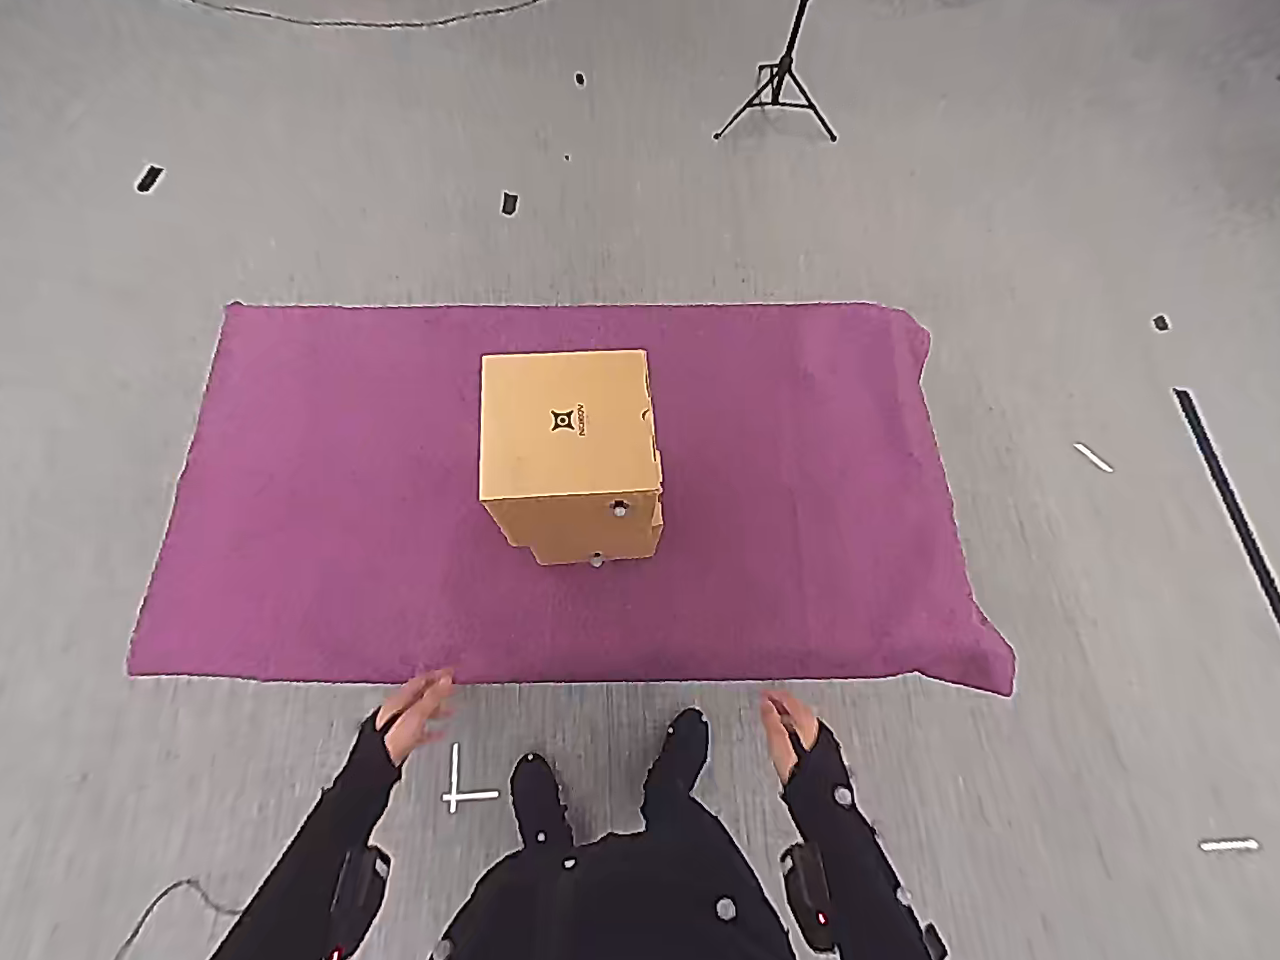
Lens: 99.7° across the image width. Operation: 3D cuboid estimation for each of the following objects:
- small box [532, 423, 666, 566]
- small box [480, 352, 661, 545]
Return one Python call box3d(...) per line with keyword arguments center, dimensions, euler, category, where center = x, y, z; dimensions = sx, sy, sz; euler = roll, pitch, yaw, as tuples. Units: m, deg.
box3d(center=(-0.065, 0.022, 0.777), dimensions=(0.179, 0.176, 0.168), euler=(-3, 68, -5), category="small box")
box3d(center=(-0.075, -0.027, 0.620), dimensions=(0.179, 0.176, 0.168), euler=(-3, 69, -5), category="small box")
